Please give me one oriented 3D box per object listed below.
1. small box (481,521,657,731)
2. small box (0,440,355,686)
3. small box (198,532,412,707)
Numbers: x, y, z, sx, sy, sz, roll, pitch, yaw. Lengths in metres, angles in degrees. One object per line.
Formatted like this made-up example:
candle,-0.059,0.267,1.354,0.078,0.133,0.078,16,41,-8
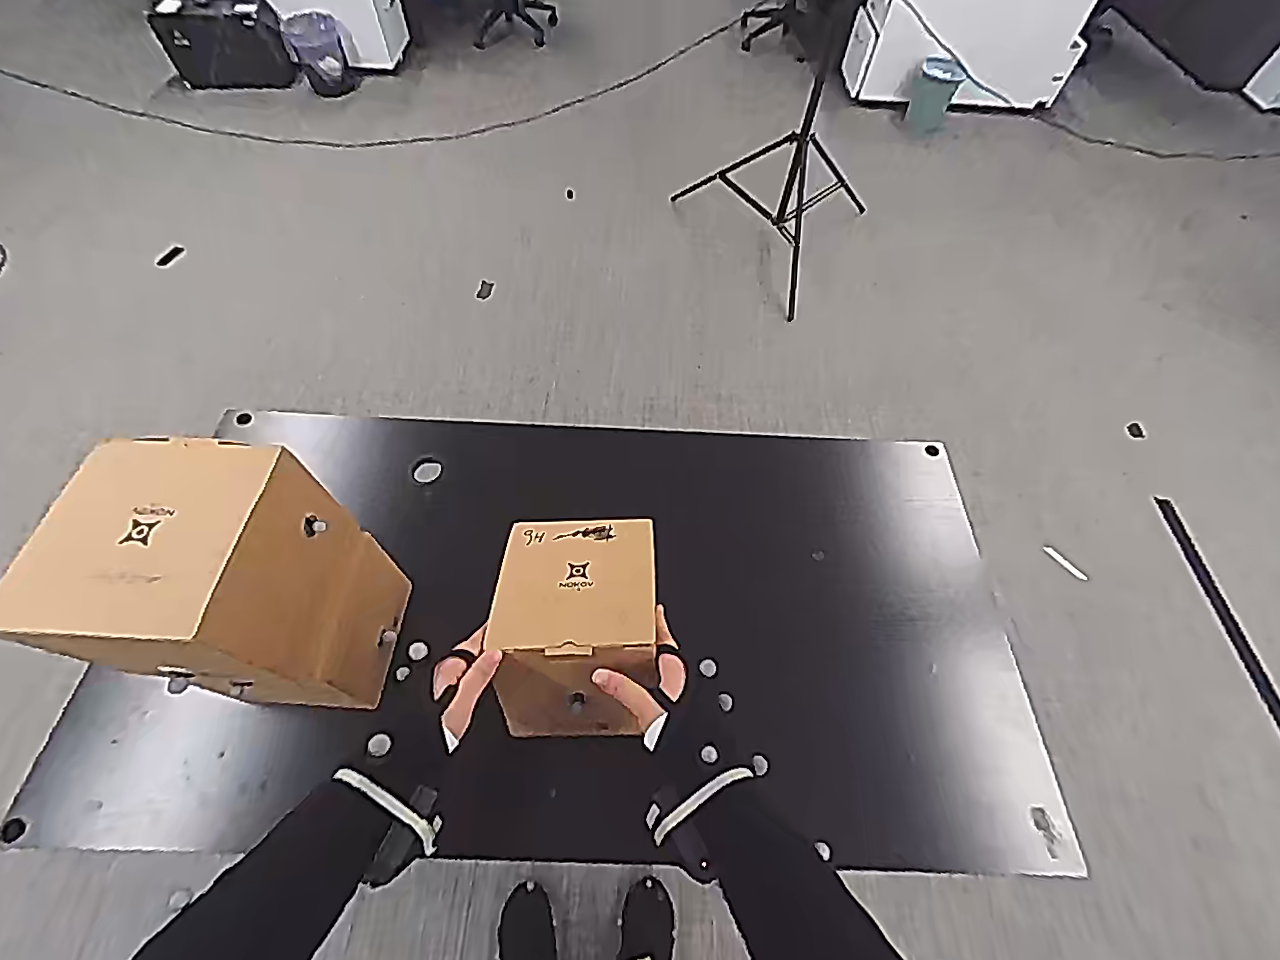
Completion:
small box,-0.066,0.167,0.617,0.168,0.176,0.179,-2,37,1
small box,-0.400,0.083,0.510,0.168,0.176,0.179,2,59,0
small box,-0.404,0.168,0.648,0.179,0.176,0.168,4,58,-1
